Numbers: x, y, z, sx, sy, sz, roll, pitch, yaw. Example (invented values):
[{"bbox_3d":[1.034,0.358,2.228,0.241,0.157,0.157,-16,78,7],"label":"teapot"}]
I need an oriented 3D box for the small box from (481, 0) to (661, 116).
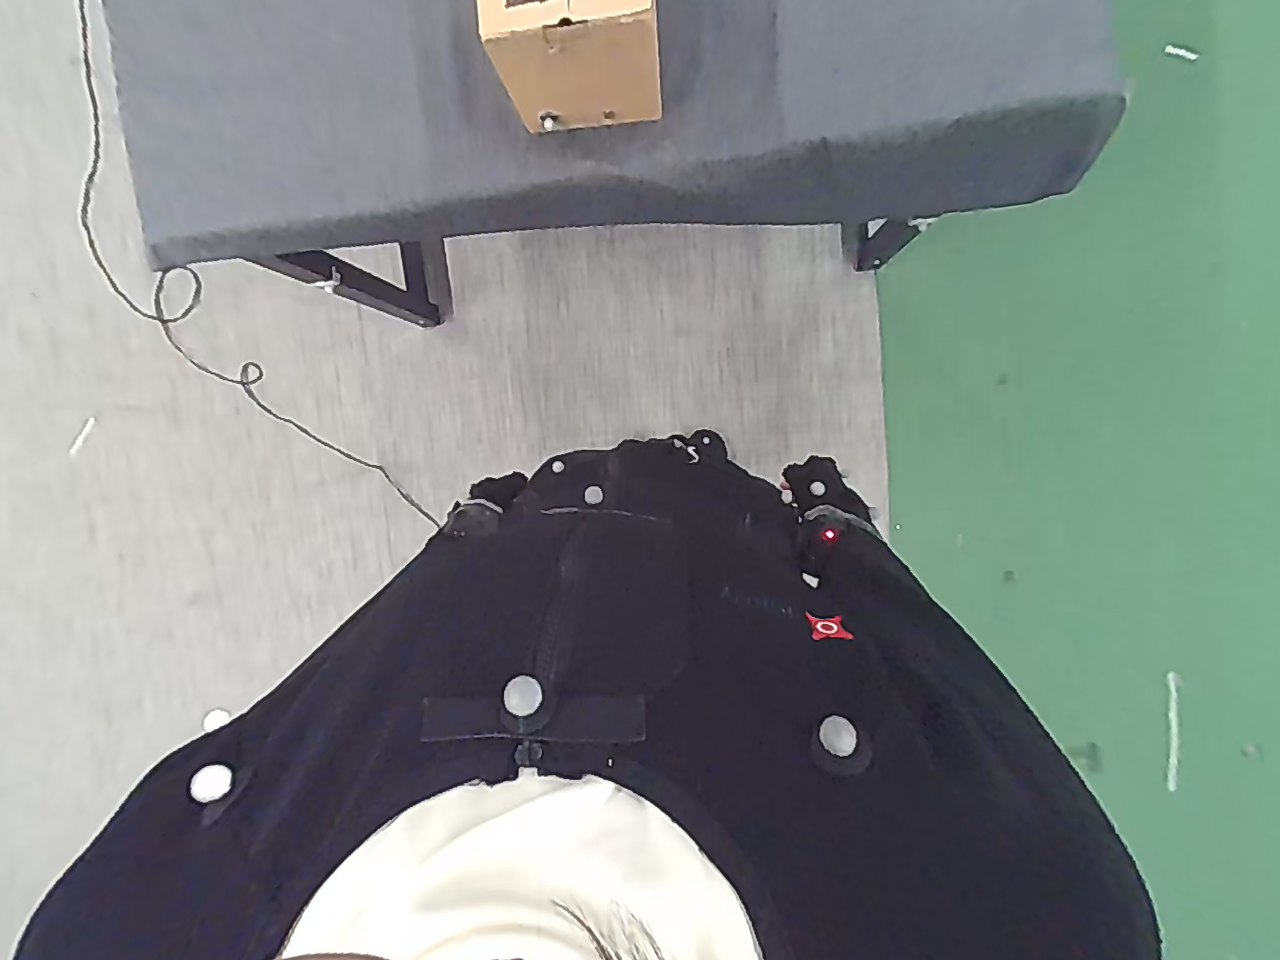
[{"bbox_3d":[-0.064,-0.520,0.577,0.168,0.176,0.179,-2,94,4],"label":"small box"}]
